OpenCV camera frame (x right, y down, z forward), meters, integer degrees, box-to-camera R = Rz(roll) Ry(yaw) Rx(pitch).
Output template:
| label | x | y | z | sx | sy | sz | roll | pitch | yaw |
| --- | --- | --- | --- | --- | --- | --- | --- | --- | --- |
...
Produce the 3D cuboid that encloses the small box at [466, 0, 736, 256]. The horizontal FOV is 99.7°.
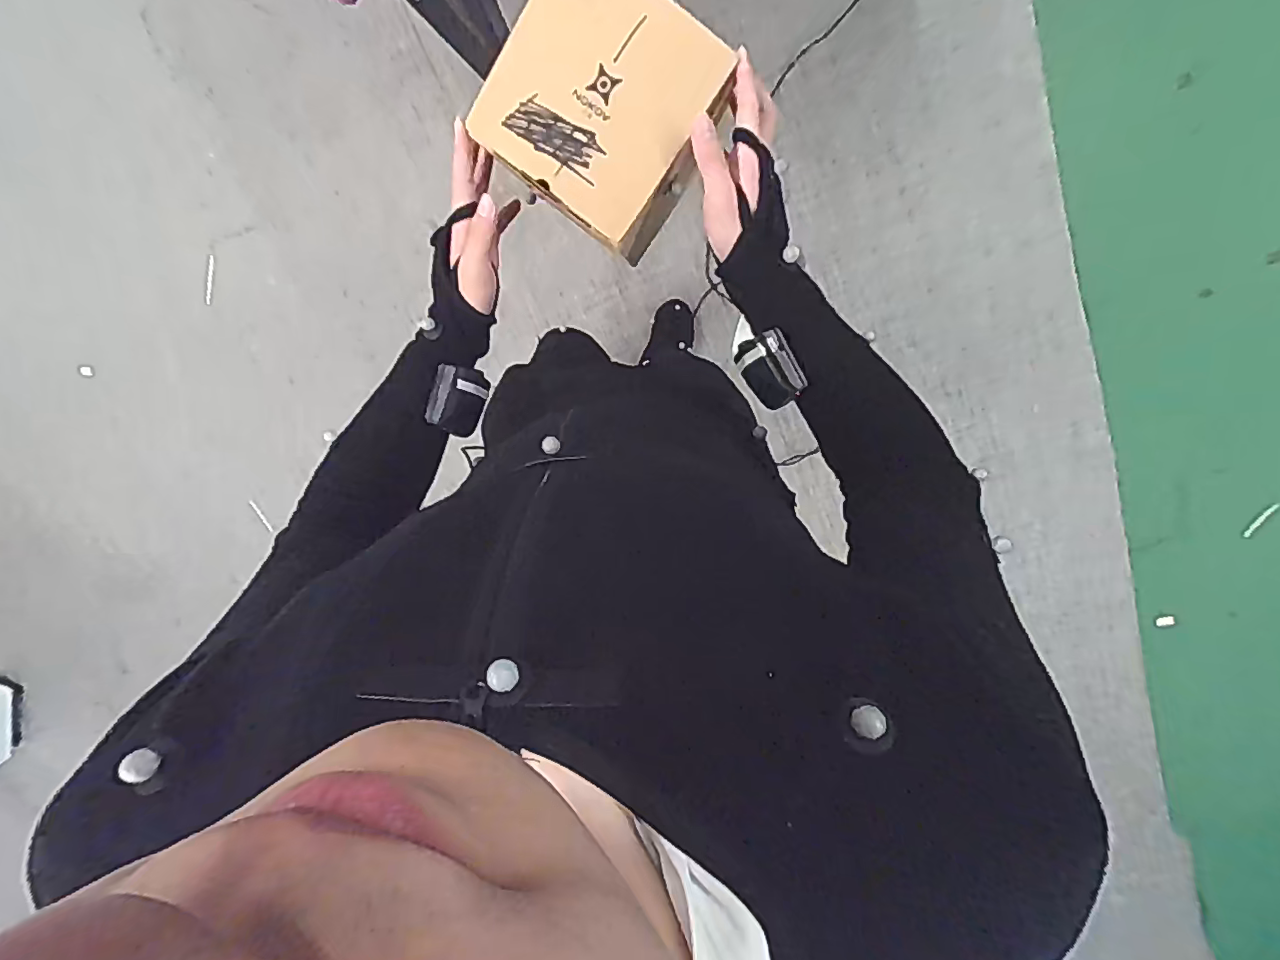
| label | x | y | z | sx | sy | sz | roll | pitch | yaw |
| --- | --- | --- | --- | --- | --- | --- | --- | --- | --- |
| small box | -0.028 | -0.344 | 0.522 | 0.168 | 0.176 | 0.179 | 36 | 104 | -6 |
